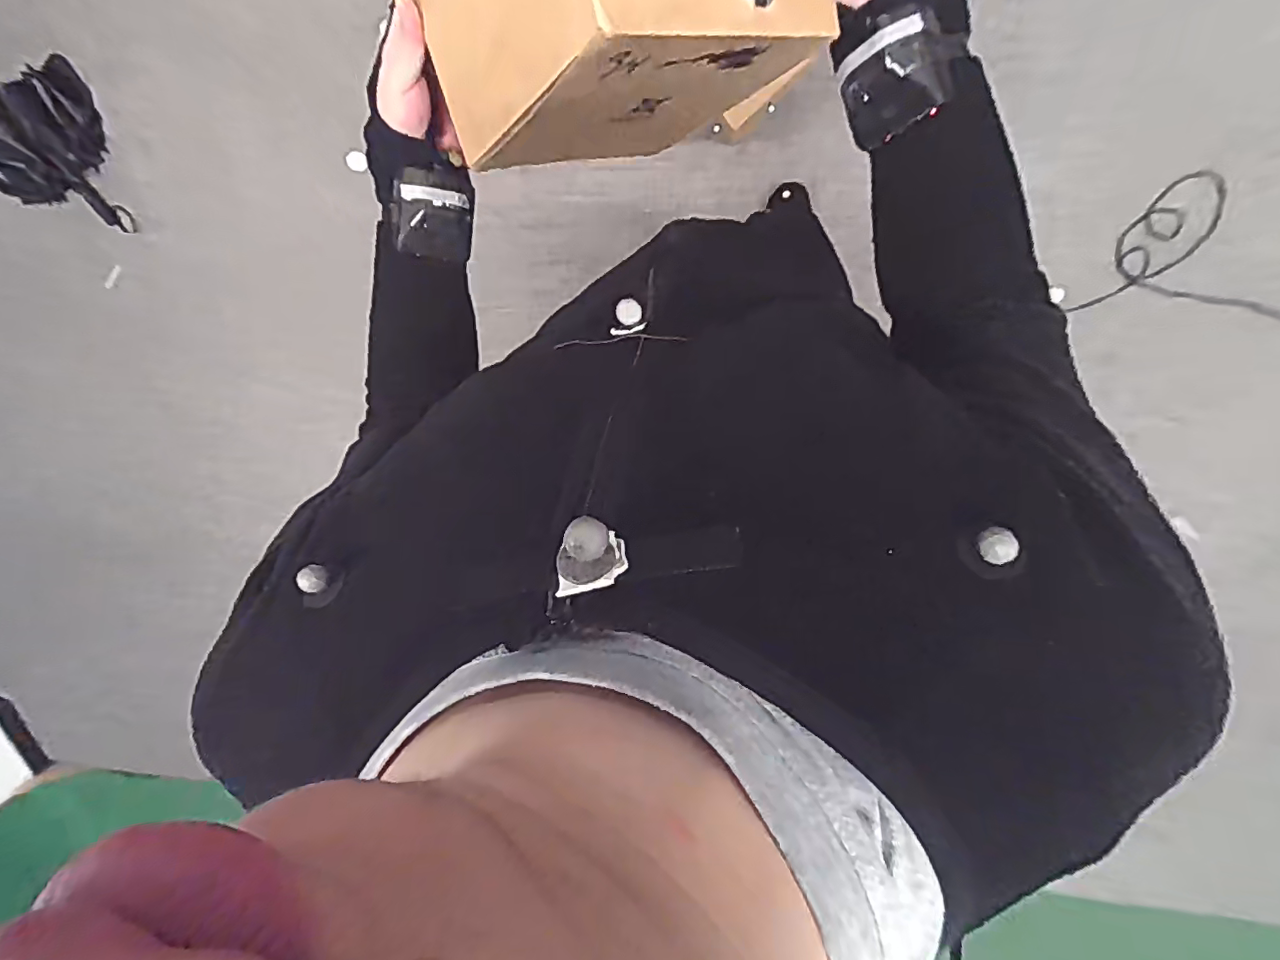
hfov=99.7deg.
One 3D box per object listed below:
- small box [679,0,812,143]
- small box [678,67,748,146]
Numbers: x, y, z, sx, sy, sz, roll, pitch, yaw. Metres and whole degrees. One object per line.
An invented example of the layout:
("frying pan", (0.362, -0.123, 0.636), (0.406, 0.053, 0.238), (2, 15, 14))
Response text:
("small box", (0.192, -0.772, 1.012), (0.179, 0.176, 0.168), (-35, 105, 22))
("small box", (0.203, -0.854, 1.155), (0.168, 0.176, 0.179), (41, 113, -12))
